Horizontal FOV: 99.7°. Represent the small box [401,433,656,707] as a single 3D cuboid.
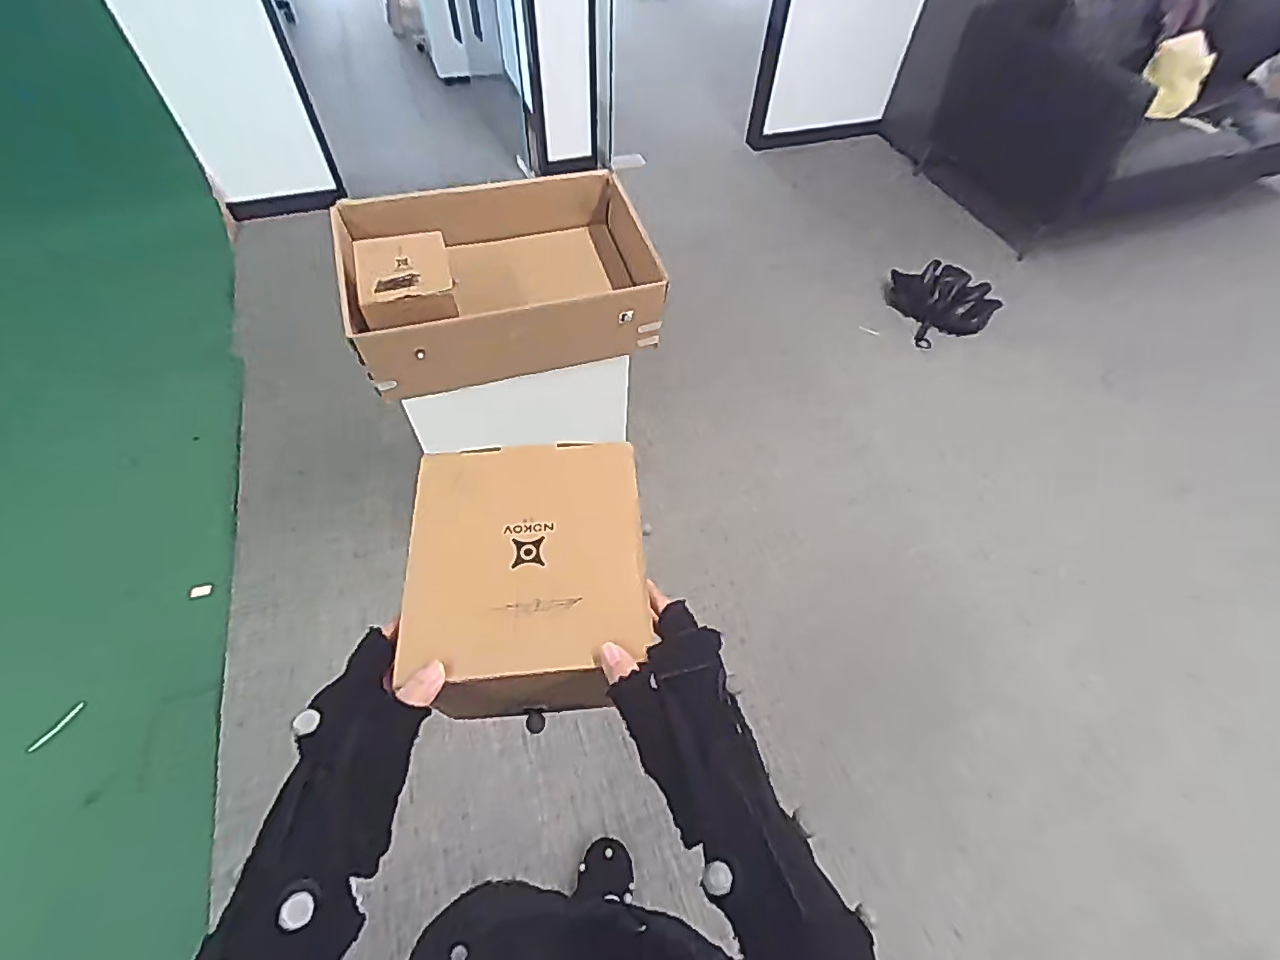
[{"bbox_3d":[-0.081,0.081,0.458,0.168,0.176,0.179,-4,59,-4],"label":"small box"}]
